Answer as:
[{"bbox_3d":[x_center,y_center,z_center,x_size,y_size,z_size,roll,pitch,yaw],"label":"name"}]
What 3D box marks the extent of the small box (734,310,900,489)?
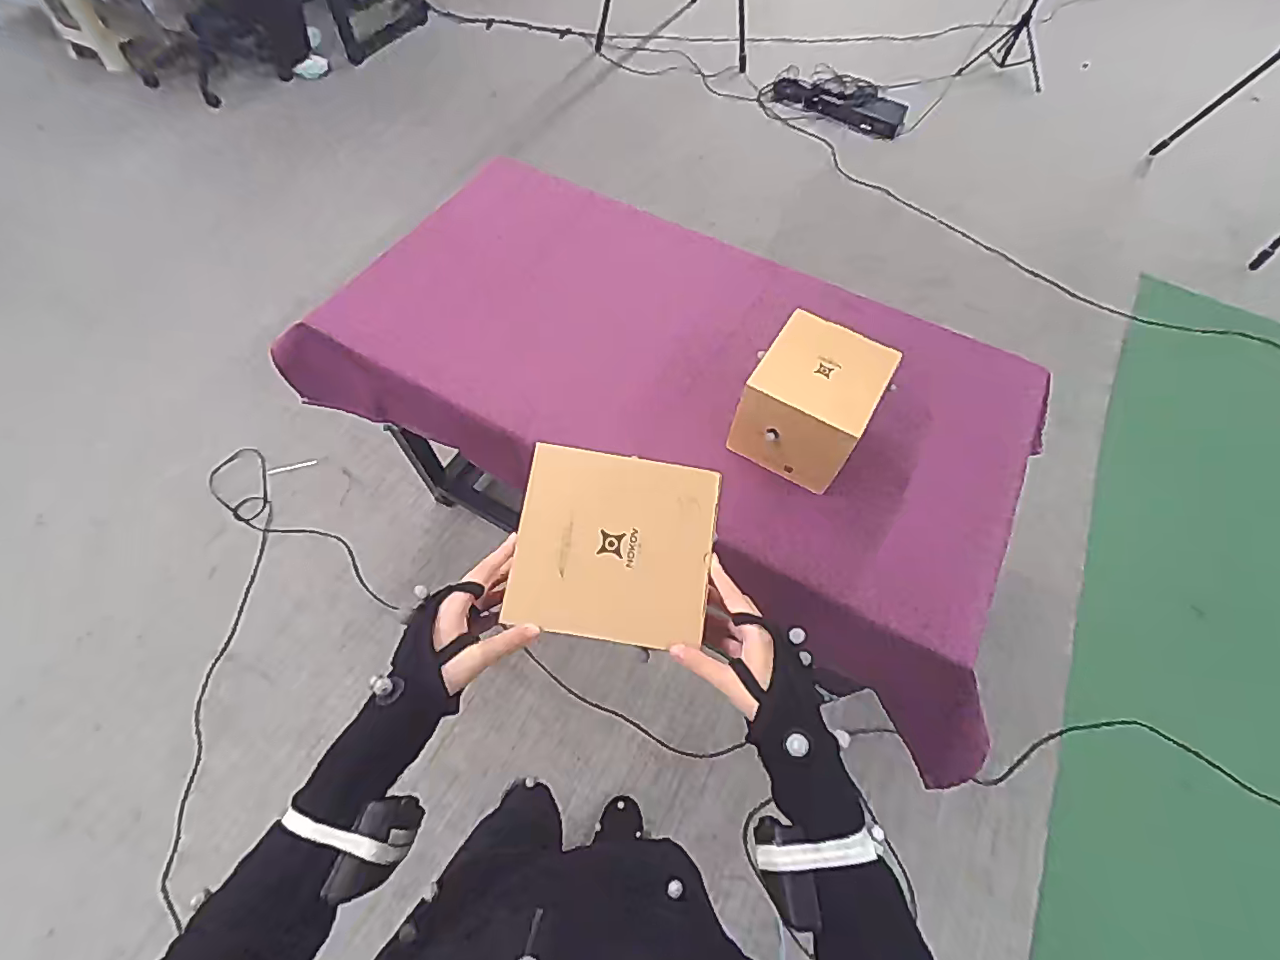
[{"bbox_3d":[0.257,-0.116,0.822,0.168,0.176,0.179,29,63,14],"label":"small box"}]
